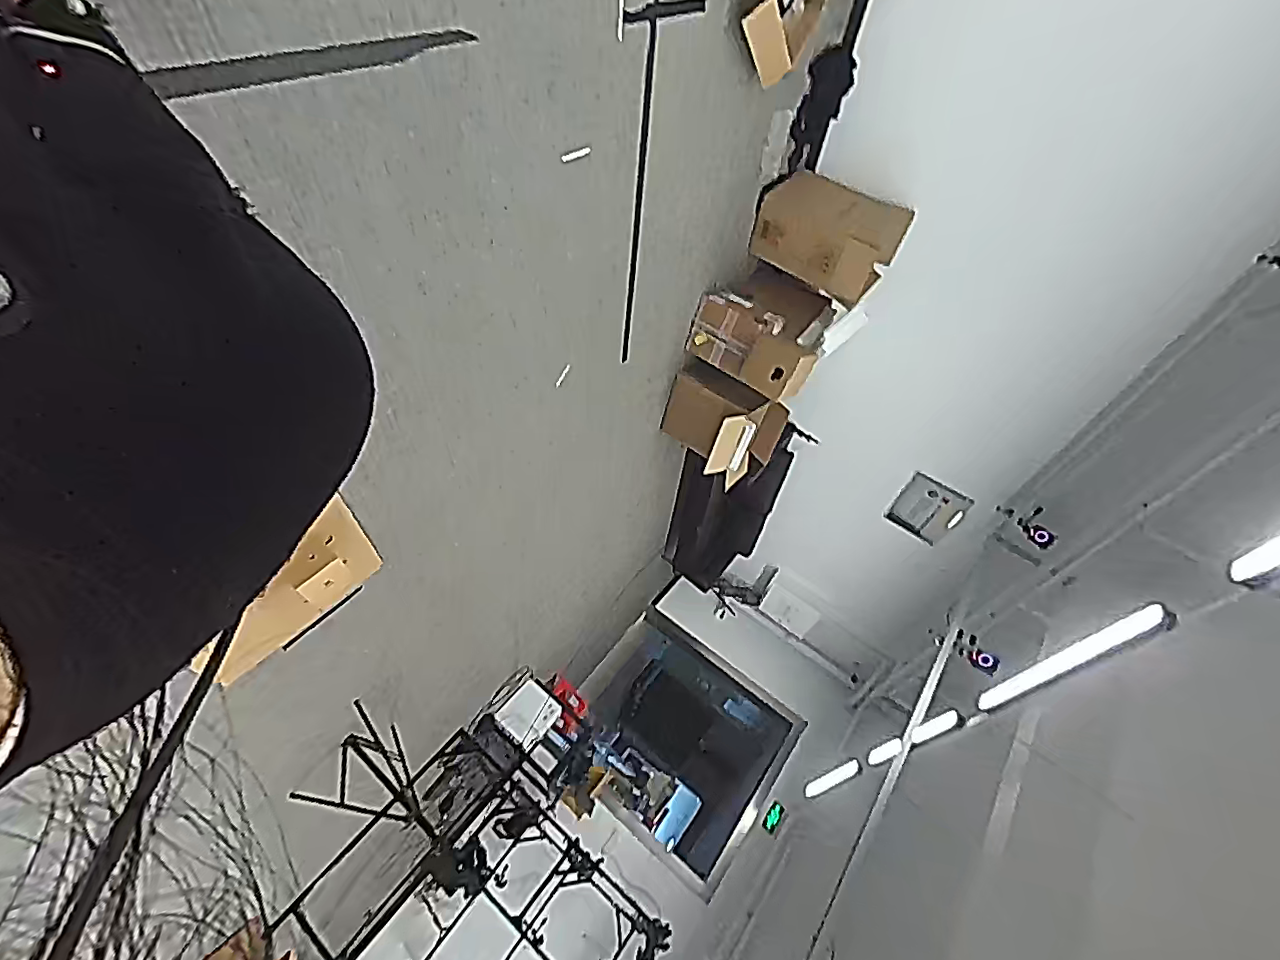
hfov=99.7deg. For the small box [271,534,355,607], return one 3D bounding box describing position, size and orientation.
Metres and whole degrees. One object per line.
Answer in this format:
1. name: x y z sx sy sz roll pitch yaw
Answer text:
1. small box: -1.186 0.321 1.960 0.168 0.176 0.179 -44 158 -29
